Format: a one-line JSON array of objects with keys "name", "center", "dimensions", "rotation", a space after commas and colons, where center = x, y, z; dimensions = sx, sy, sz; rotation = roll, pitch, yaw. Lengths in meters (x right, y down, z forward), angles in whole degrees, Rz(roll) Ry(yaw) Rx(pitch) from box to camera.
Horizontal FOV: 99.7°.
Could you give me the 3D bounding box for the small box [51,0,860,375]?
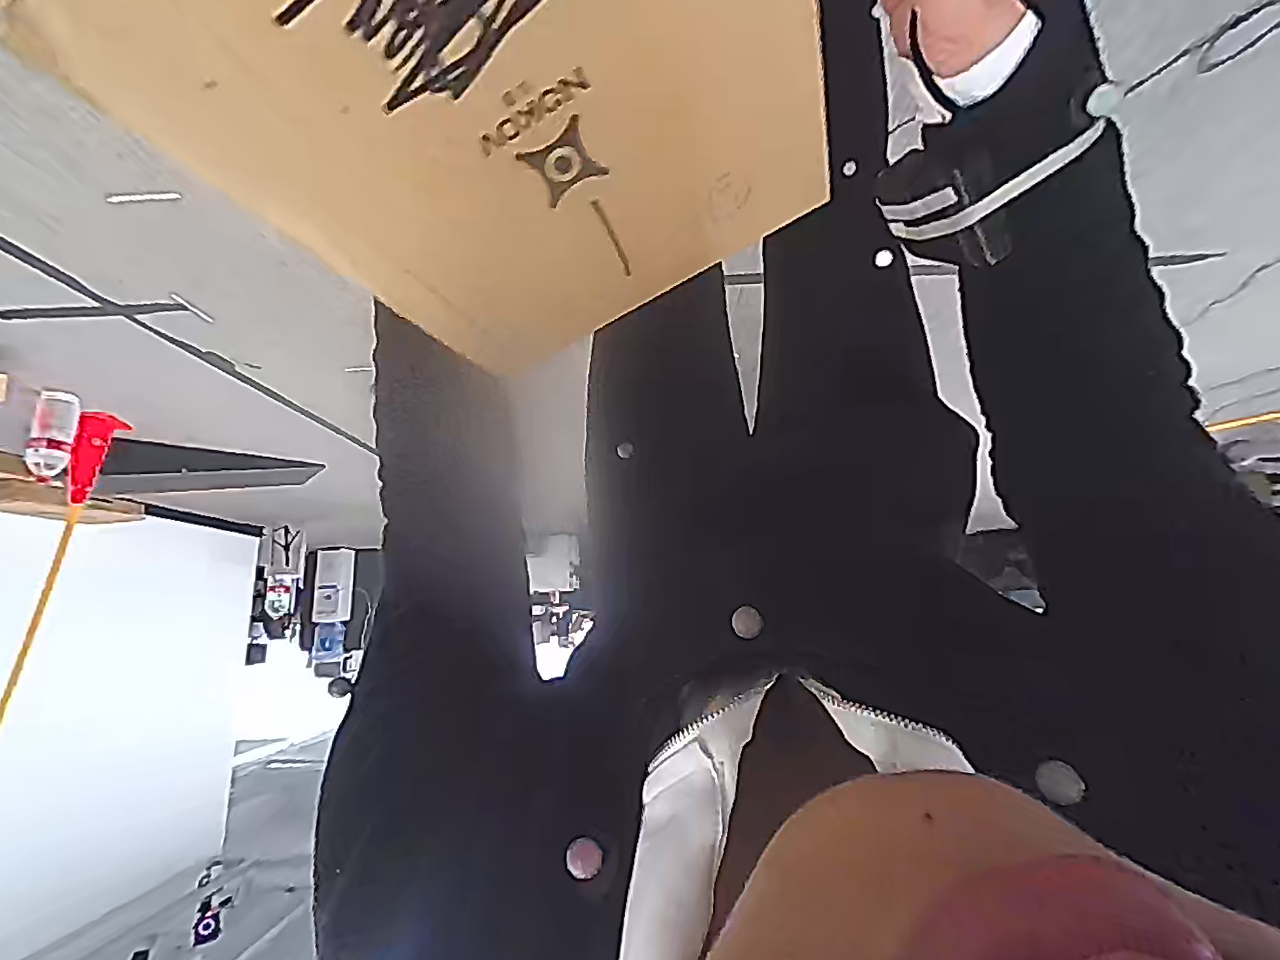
[{"name": "small box", "center": [-0.040, -0.175, 0.188], "dimensions": [0.168, 0.176, 0.179], "rotation": [-24, 157, 13]}]
